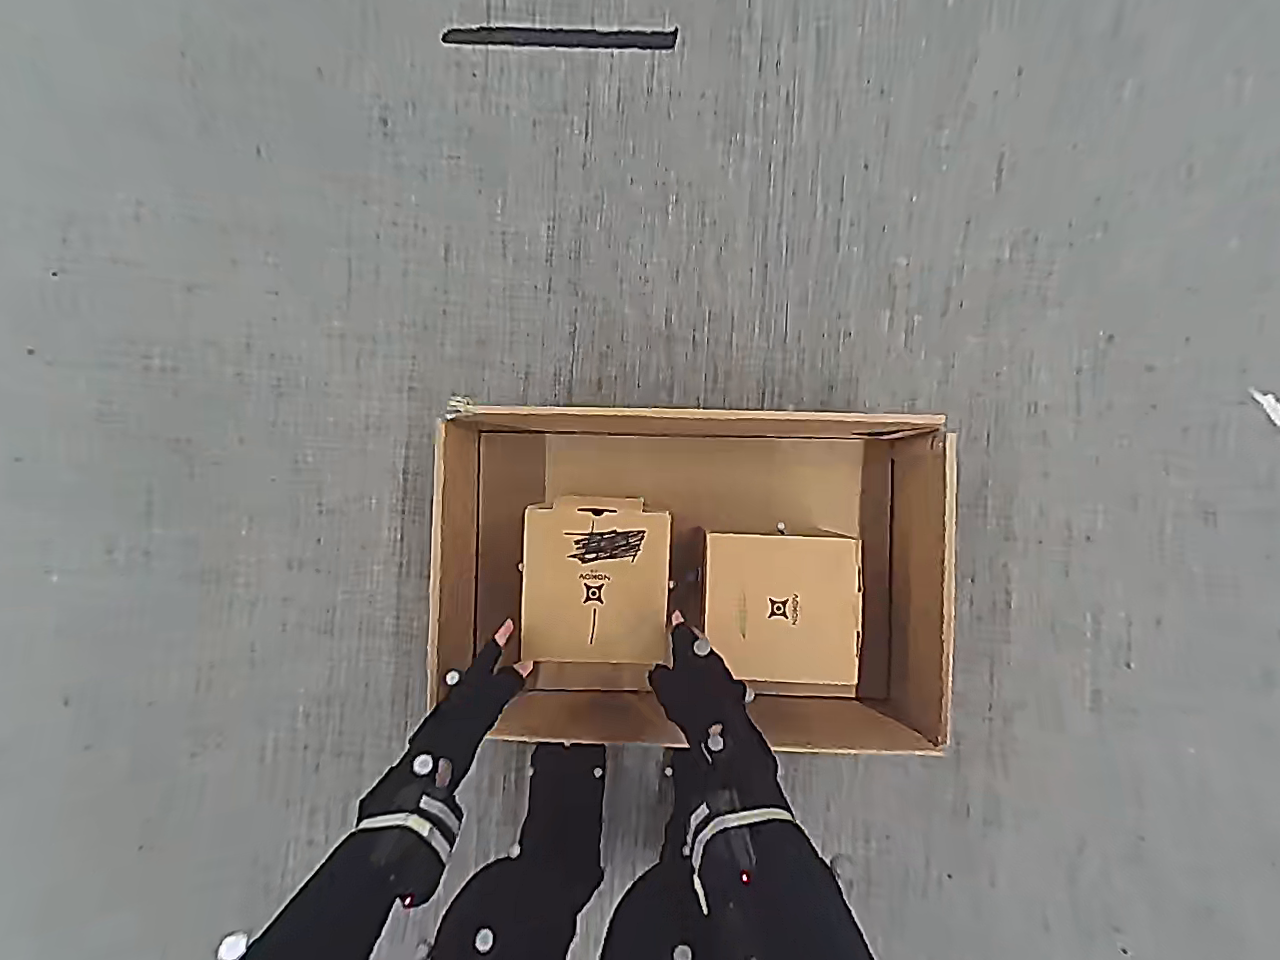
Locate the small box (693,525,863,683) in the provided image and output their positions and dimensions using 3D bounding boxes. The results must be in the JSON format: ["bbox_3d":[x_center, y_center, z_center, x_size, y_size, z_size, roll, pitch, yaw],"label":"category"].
[{"bbox_3d":[0.163,0.145,0.689,0.179,0.176,0.168,2,88,3],"label":"small box"}]
